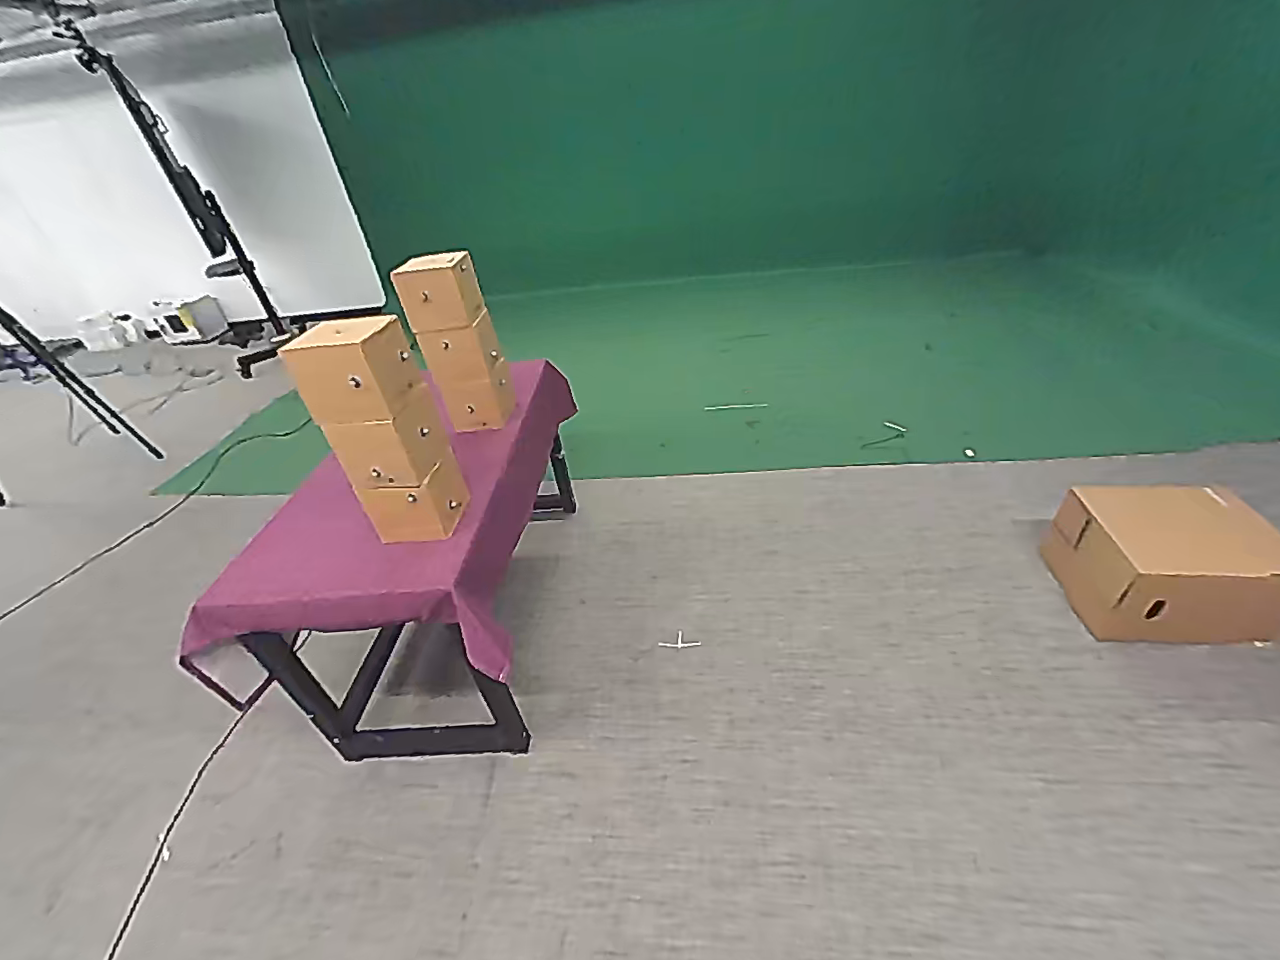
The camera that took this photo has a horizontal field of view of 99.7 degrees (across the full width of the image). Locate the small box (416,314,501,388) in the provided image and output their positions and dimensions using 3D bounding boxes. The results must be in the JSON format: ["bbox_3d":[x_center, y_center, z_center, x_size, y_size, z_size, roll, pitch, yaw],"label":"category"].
[{"bbox_3d":[-0.547,-0.392,1.654,0.179,0.176,0.168,-5,36,5],"label":"small box"}]

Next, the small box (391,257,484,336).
[{"bbox_3d":[-0.576,-0.526,1.562,0.179,0.176,0.168,-6,36,6],"label":"small box"}]

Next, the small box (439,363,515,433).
[{"bbox_3d":[-0.518,-0.260,1.747,0.168,0.176,0.179,-4,35,7],"label":"small box"}]

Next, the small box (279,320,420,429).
[{"bbox_3d":[-0.596,-0.221,1.142,0.179,0.176,0.168,-4,35,8],"label":"small box"}]

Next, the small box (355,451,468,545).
[{"bbox_3d":[-0.550,0.046,1.326,0.179,0.176,0.168,-4,35,7],"label":"small box"}]
